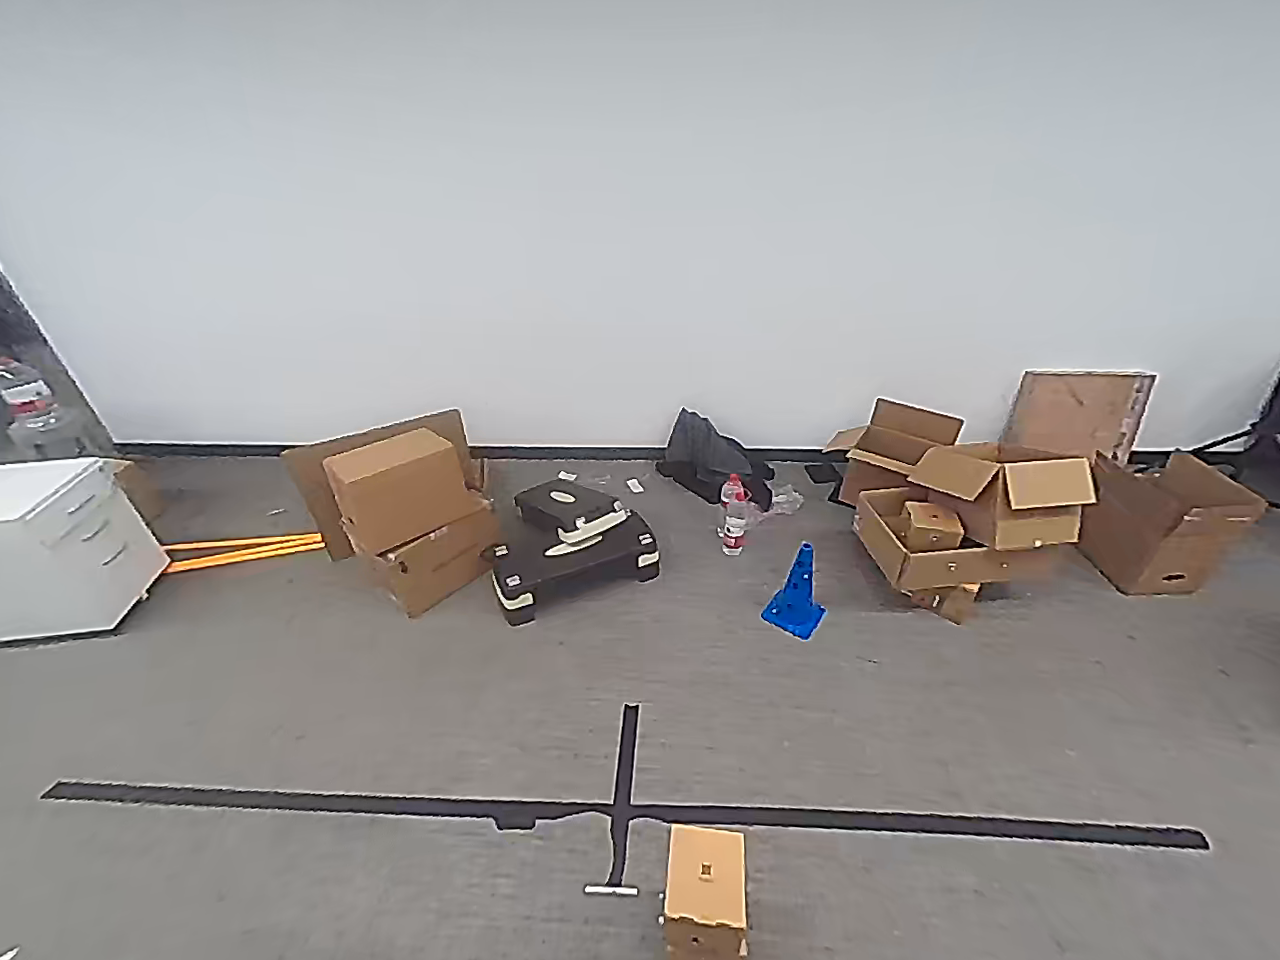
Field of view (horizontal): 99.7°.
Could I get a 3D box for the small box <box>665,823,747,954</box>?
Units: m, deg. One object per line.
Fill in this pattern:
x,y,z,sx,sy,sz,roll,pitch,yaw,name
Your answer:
0.145,0.905,1.202,0.168,0.176,0.179,4,36,7,small box

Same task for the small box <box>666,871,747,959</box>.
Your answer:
0.152,1.046,1.284,0.179,0.176,0.168,0,35,4,small box
